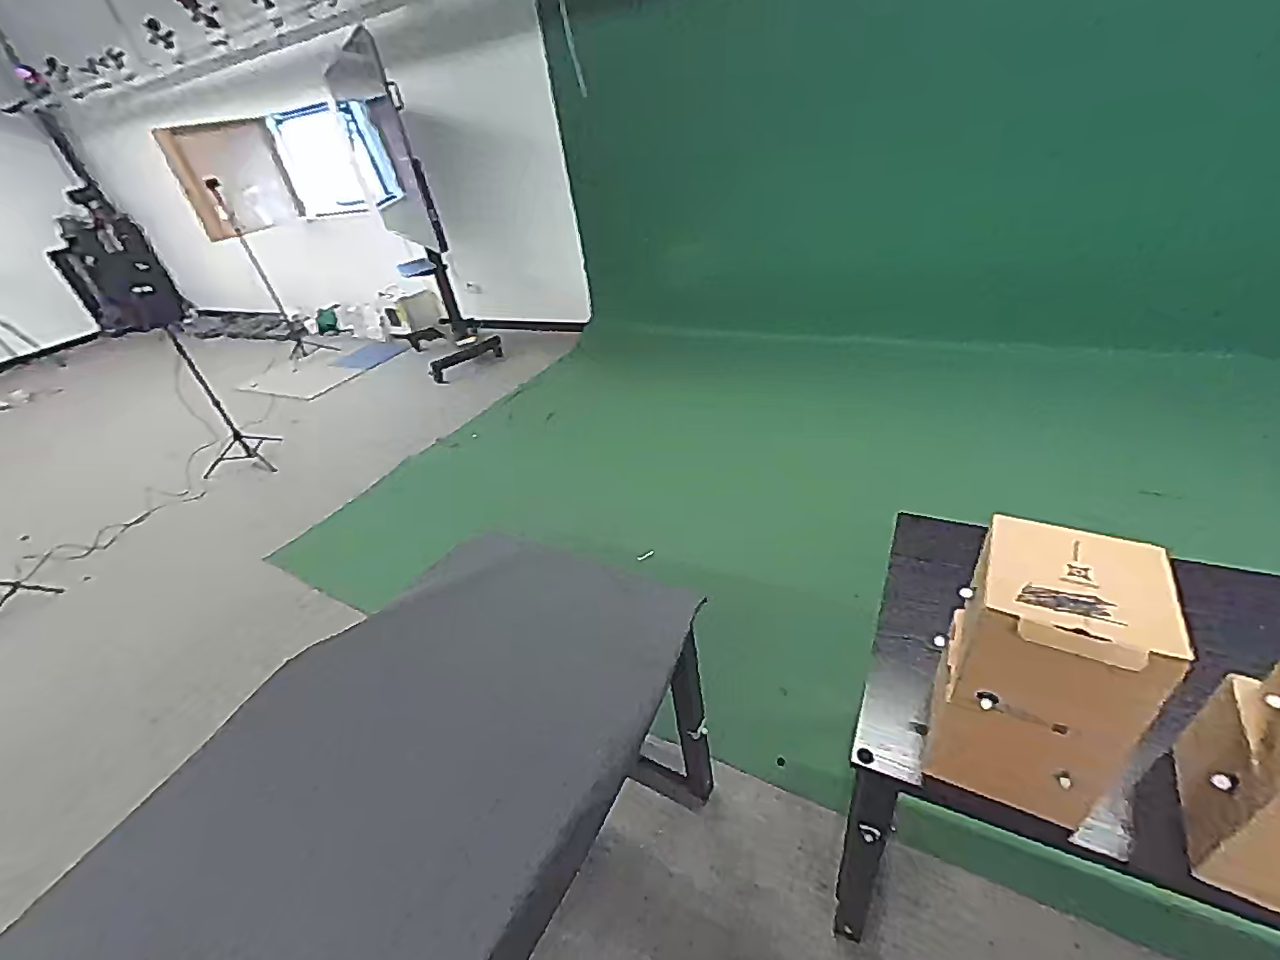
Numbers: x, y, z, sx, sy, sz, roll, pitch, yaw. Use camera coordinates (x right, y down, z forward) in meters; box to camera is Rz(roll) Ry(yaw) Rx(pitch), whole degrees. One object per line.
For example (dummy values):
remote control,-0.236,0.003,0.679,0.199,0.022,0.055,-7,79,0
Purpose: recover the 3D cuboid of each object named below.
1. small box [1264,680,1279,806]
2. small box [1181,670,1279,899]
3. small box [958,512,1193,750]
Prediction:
small box,0.712,0.232,0.472,0.179,0.176,0.168,19,44,36
small box,0.734,0.350,0.583,0.168,0.176,0.179,14,41,30
small box,0.479,0.168,0.622,0.168,0.176,0.179,13,40,29
